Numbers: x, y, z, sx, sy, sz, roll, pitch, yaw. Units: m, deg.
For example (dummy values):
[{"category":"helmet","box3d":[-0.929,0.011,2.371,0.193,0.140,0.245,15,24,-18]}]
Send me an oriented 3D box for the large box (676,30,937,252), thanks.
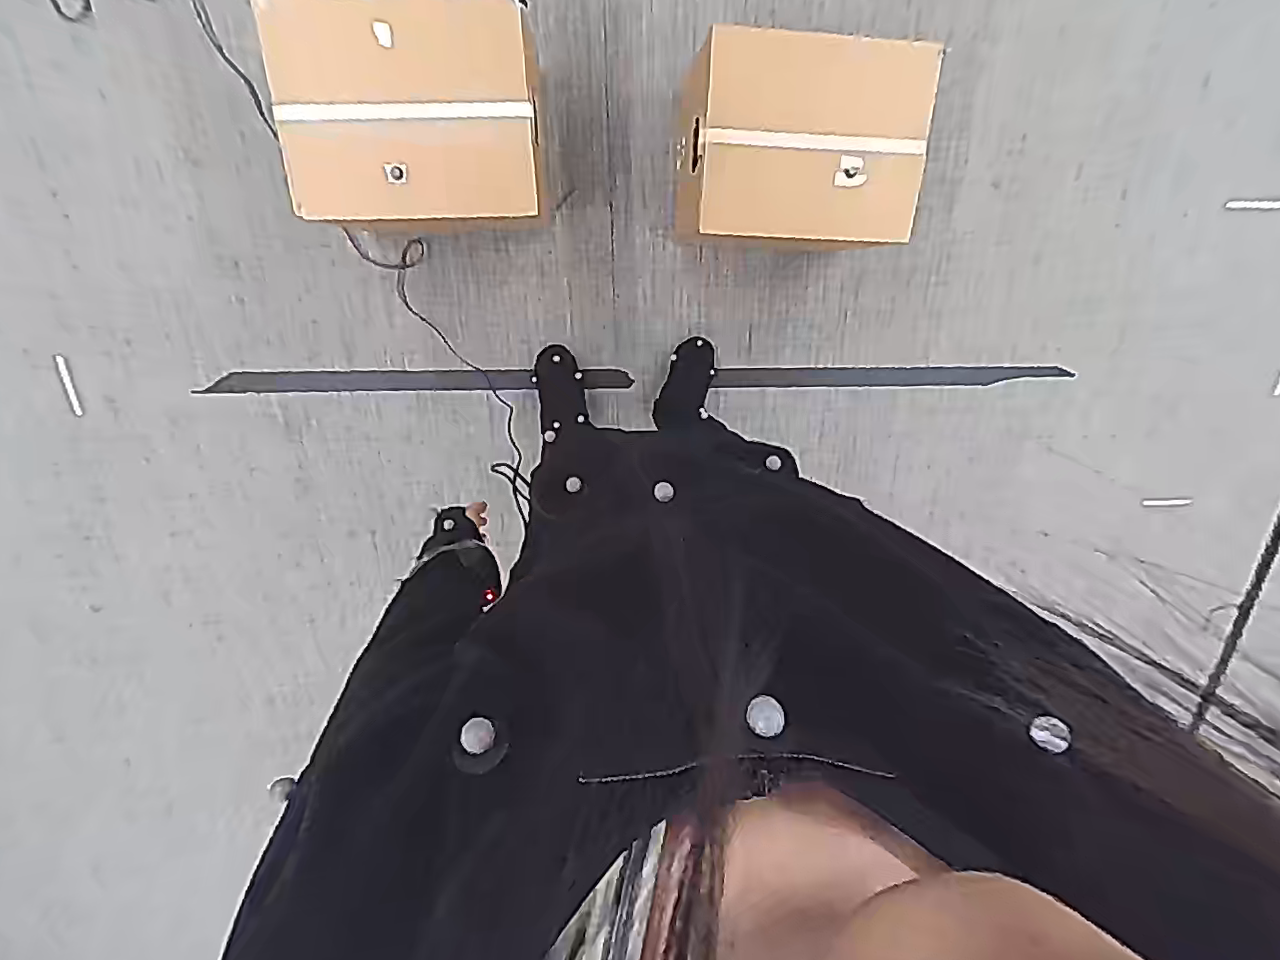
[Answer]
[{"category":"large box","box3d":[0.297,-0.647,1.098,0.408,0.320,0.320,0,110,-6]}]
